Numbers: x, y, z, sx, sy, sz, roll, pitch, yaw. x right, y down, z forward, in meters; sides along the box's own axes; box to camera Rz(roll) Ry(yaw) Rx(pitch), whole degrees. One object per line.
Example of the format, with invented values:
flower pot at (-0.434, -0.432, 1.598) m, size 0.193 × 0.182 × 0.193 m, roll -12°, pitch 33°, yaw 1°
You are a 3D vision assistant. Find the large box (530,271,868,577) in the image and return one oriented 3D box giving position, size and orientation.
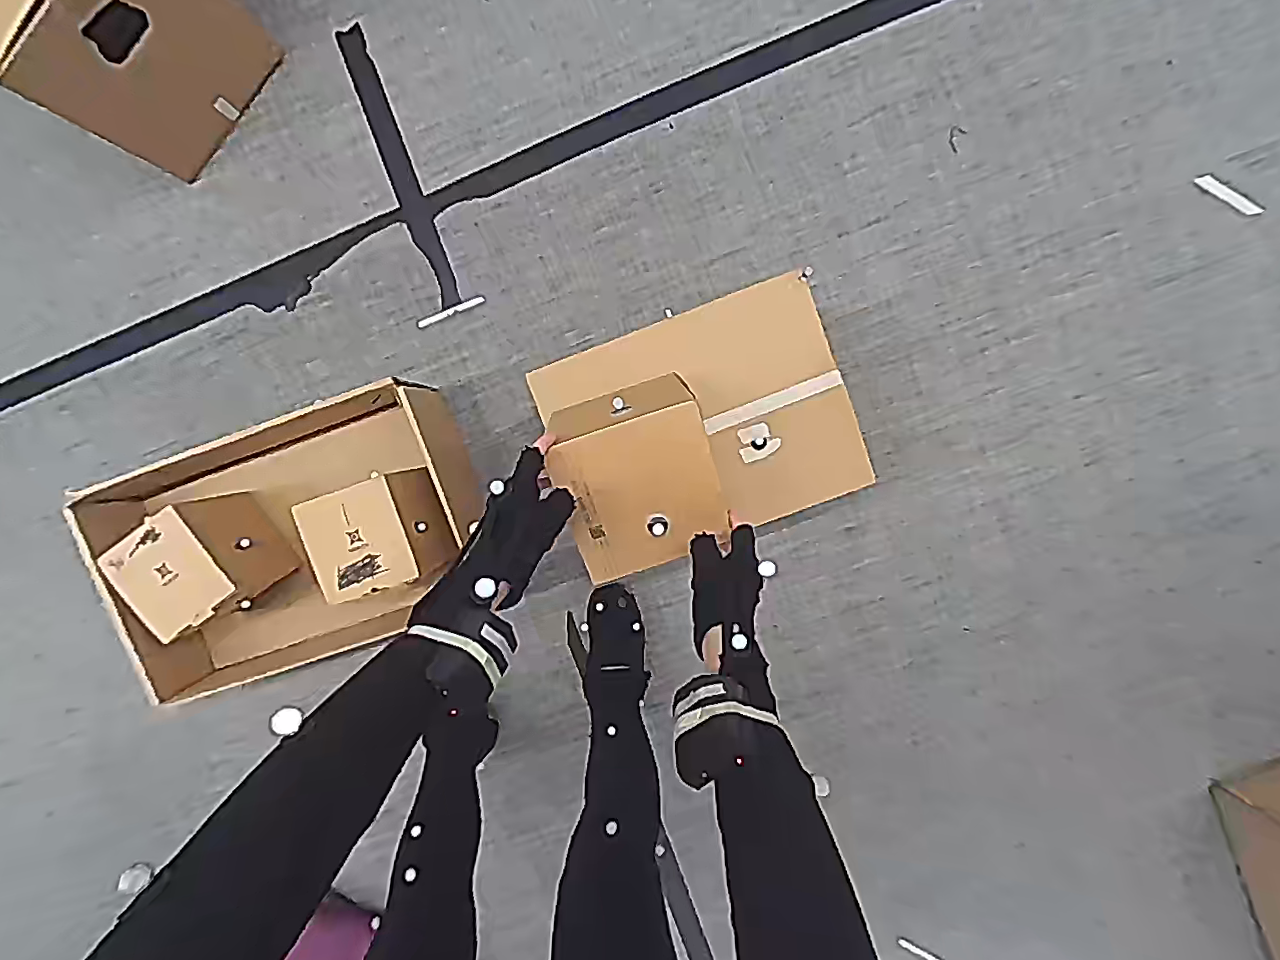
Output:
large box at (0.083, -0.083, 0.902) m, size 0.408 × 0.320 × 0.320 m, roll -21°, pitch 95°, yaw 2°
